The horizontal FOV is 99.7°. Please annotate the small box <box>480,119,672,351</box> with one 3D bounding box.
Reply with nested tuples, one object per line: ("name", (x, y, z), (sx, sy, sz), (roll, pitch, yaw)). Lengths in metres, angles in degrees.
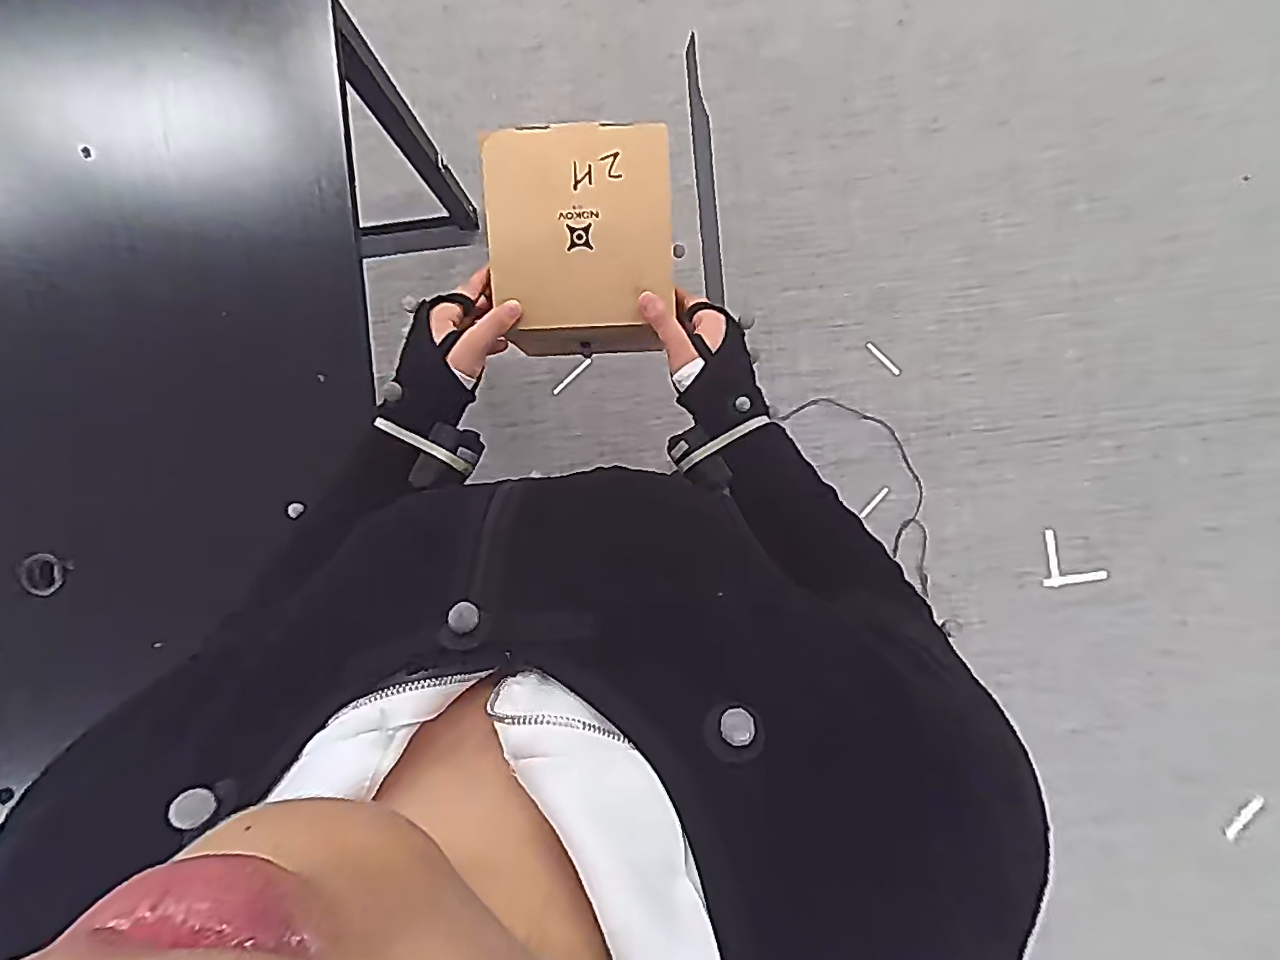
("small box", (-0.055, -0.231, 0.557), (0.168, 0.176, 0.179), (-3, 94, -1))
